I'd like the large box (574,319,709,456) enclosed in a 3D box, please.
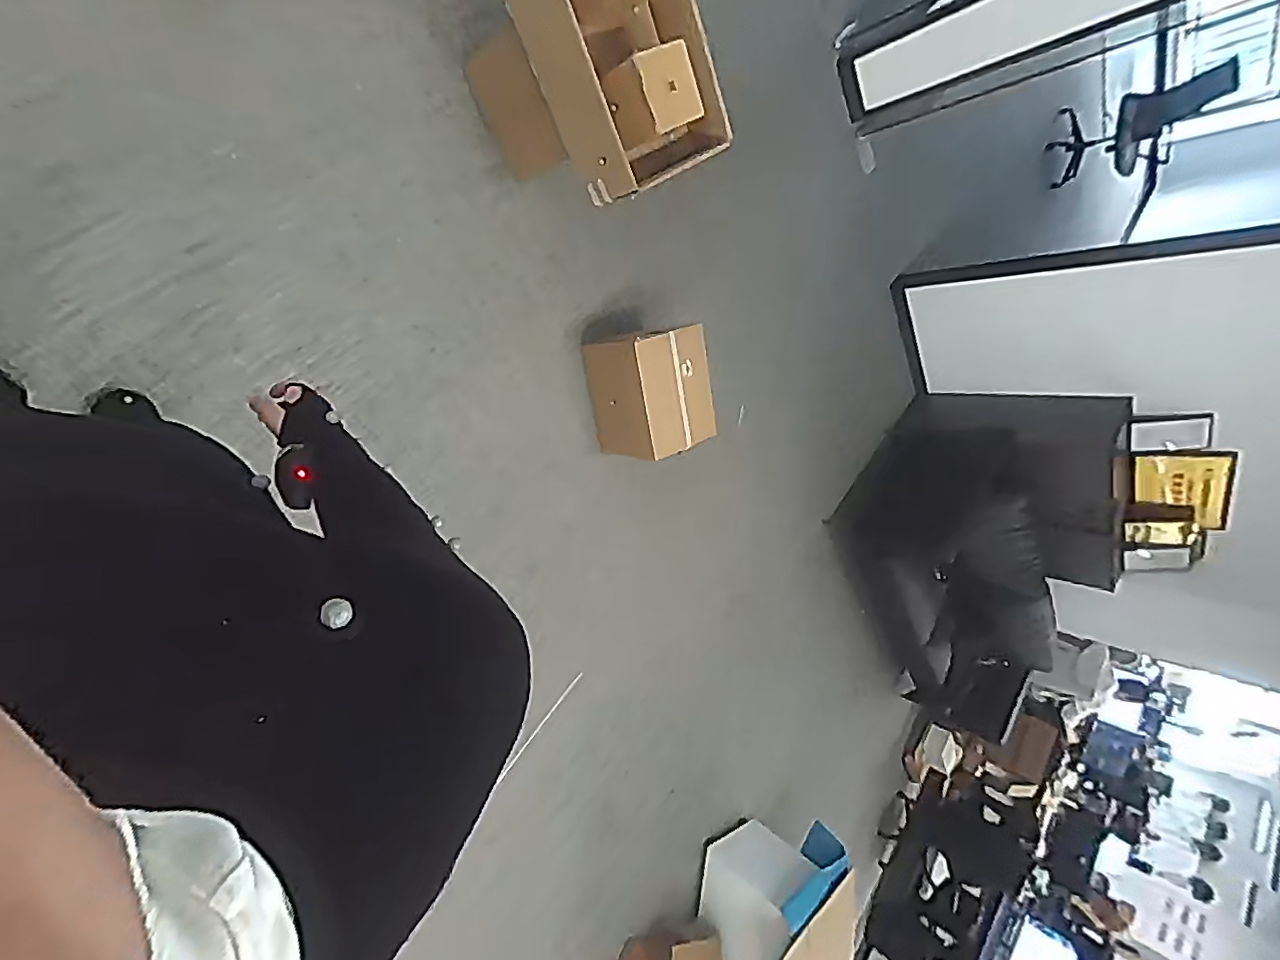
[{"bbox_3d":[0.007,-0.334,1.938,0.320,0.320,0.408,-26,114,-36],"label":"large box"}]

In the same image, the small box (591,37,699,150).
[{"bbox_3d":[0.011,-0.950,1.338,0.179,0.176,0.168,-41,123,-26],"label":"small box"}]
